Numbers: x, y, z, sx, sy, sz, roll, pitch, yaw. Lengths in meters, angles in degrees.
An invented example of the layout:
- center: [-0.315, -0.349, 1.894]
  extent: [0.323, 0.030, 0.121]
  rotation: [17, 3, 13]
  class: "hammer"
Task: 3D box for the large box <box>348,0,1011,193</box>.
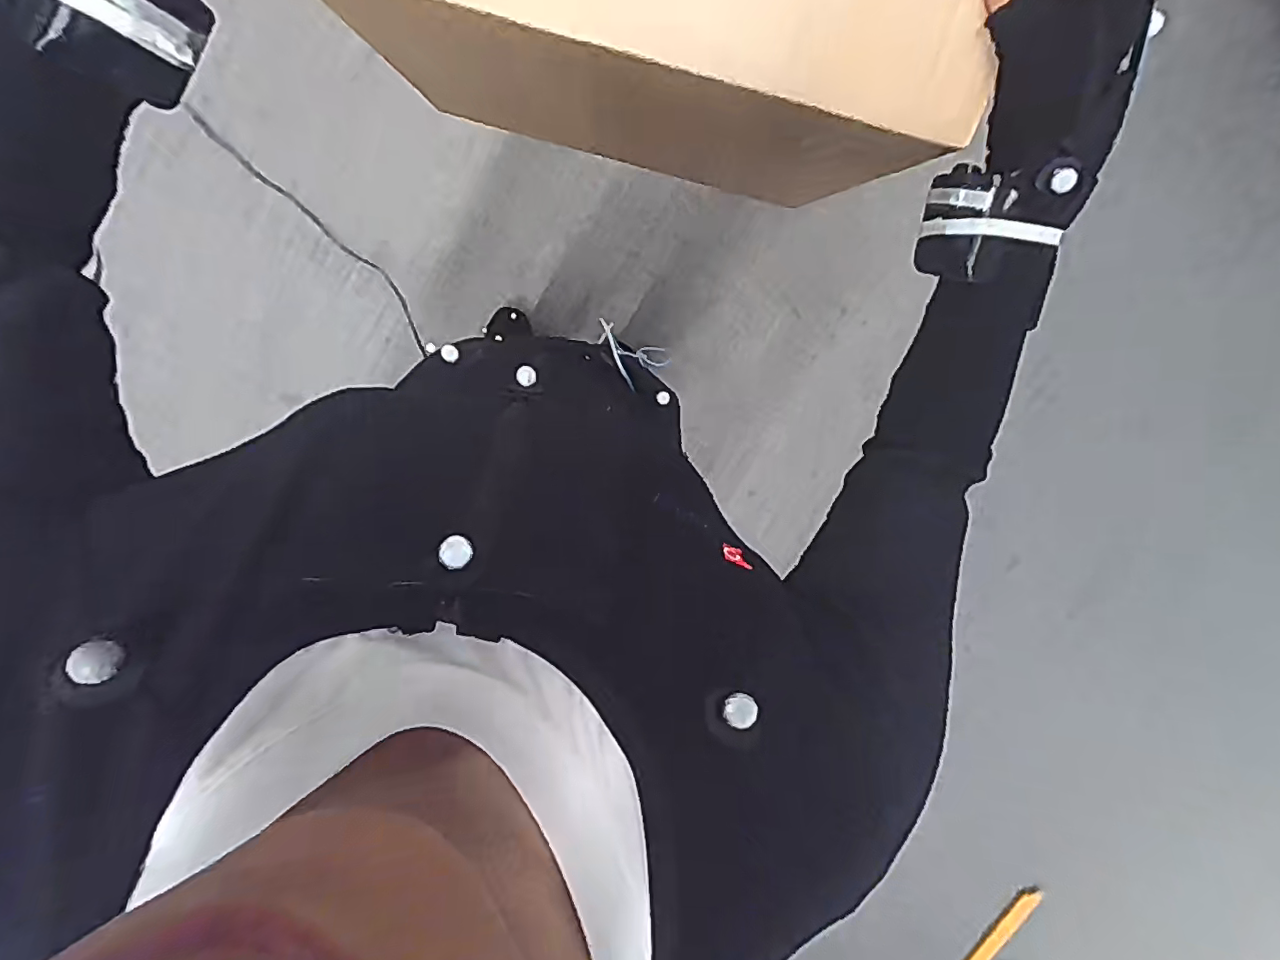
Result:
- center: [0.027, -0.441, 0.398]
  extent: [0.408, 0.320, 0.320]
  rotation: [9, 111, -8]
  class: "large box"
